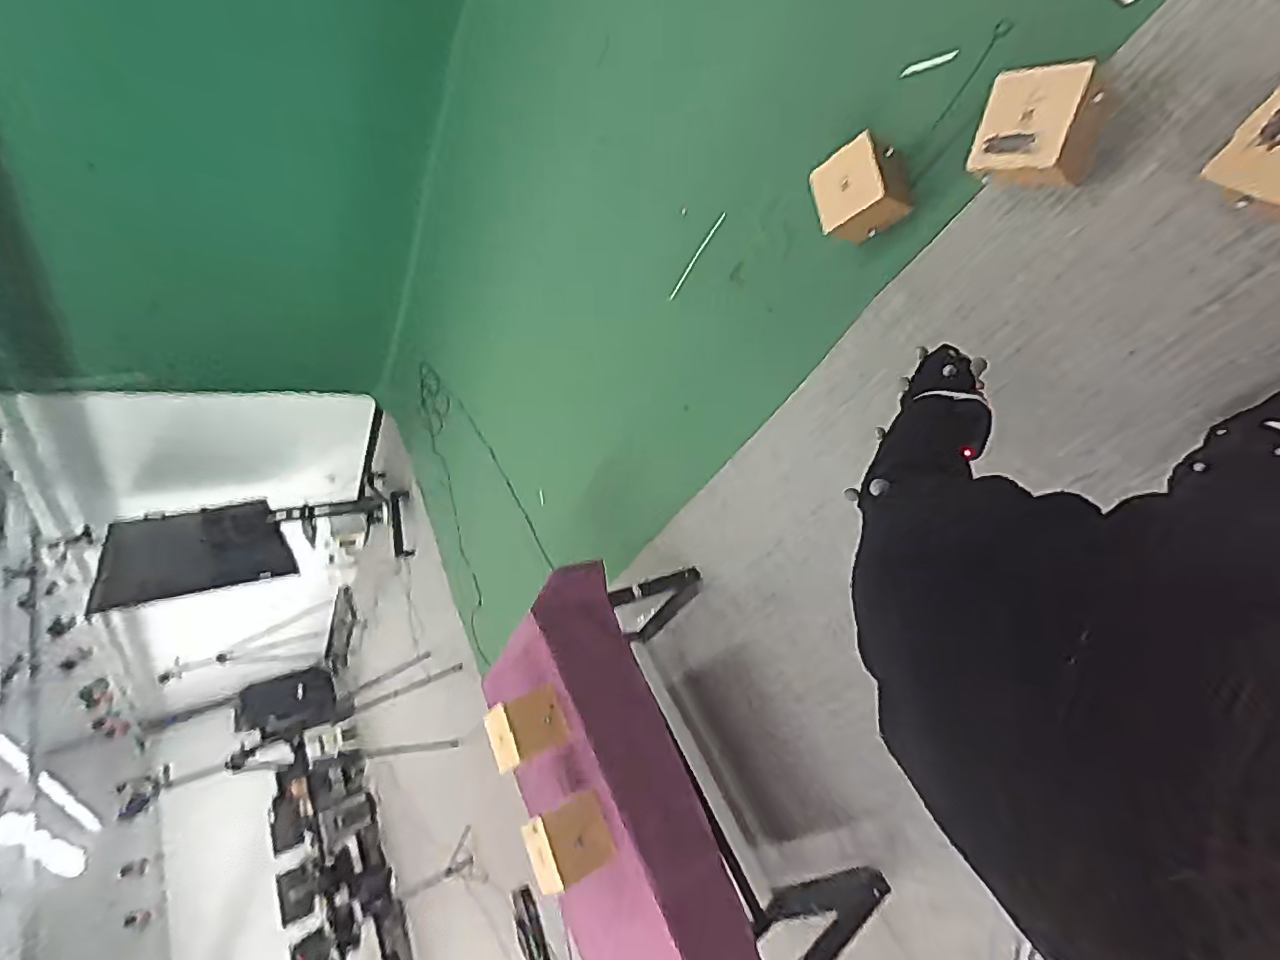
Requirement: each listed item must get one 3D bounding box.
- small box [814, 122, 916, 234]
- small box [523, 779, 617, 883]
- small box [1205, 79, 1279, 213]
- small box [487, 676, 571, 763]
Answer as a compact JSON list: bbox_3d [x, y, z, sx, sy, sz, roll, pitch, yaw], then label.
[{"bbox_3d":[0.584,-0.769,1.401,0.168,0.176,0.179,-18,82,51],"label":"small box"},{"bbox_3d":[-0.188,0.954,1.473,0.168,0.176,0.179,-50,60,42],"label":"small box"},{"bbox_3d":[1.064,-0.531,0.853,0.179,0.176,0.168,51,132,31],"label":"small box"},{"bbox_3d":[-0.328,0.708,1.604,0.179,0.176,0.168,-48,60,42],"label":"small box"}]
